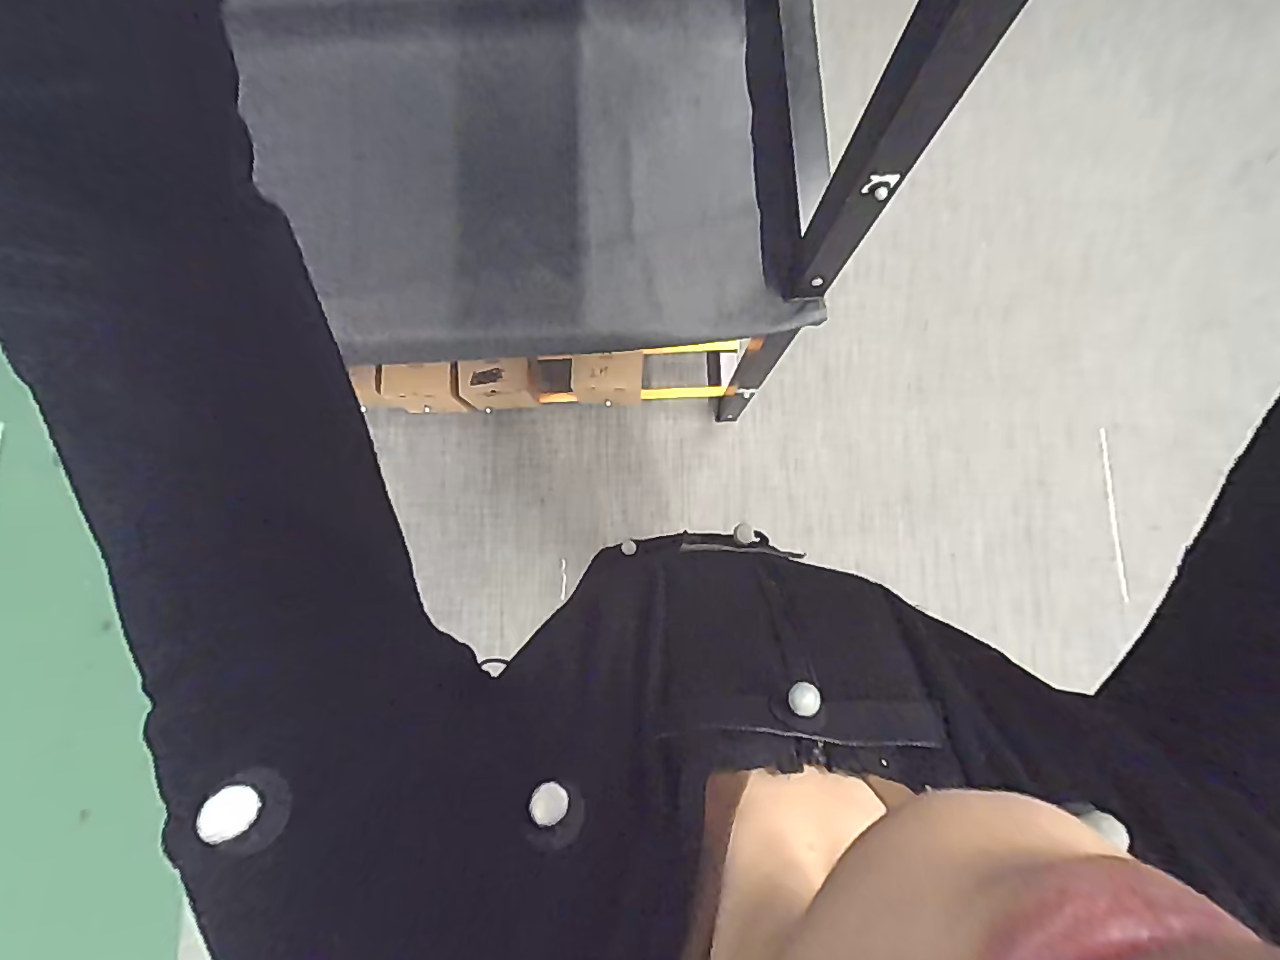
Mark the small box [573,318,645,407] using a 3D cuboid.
[{"bbox_3d":[-0.074,-0.296,1.382,0.168,0.176,0.179,3,85,2],"label":"small box"}]
